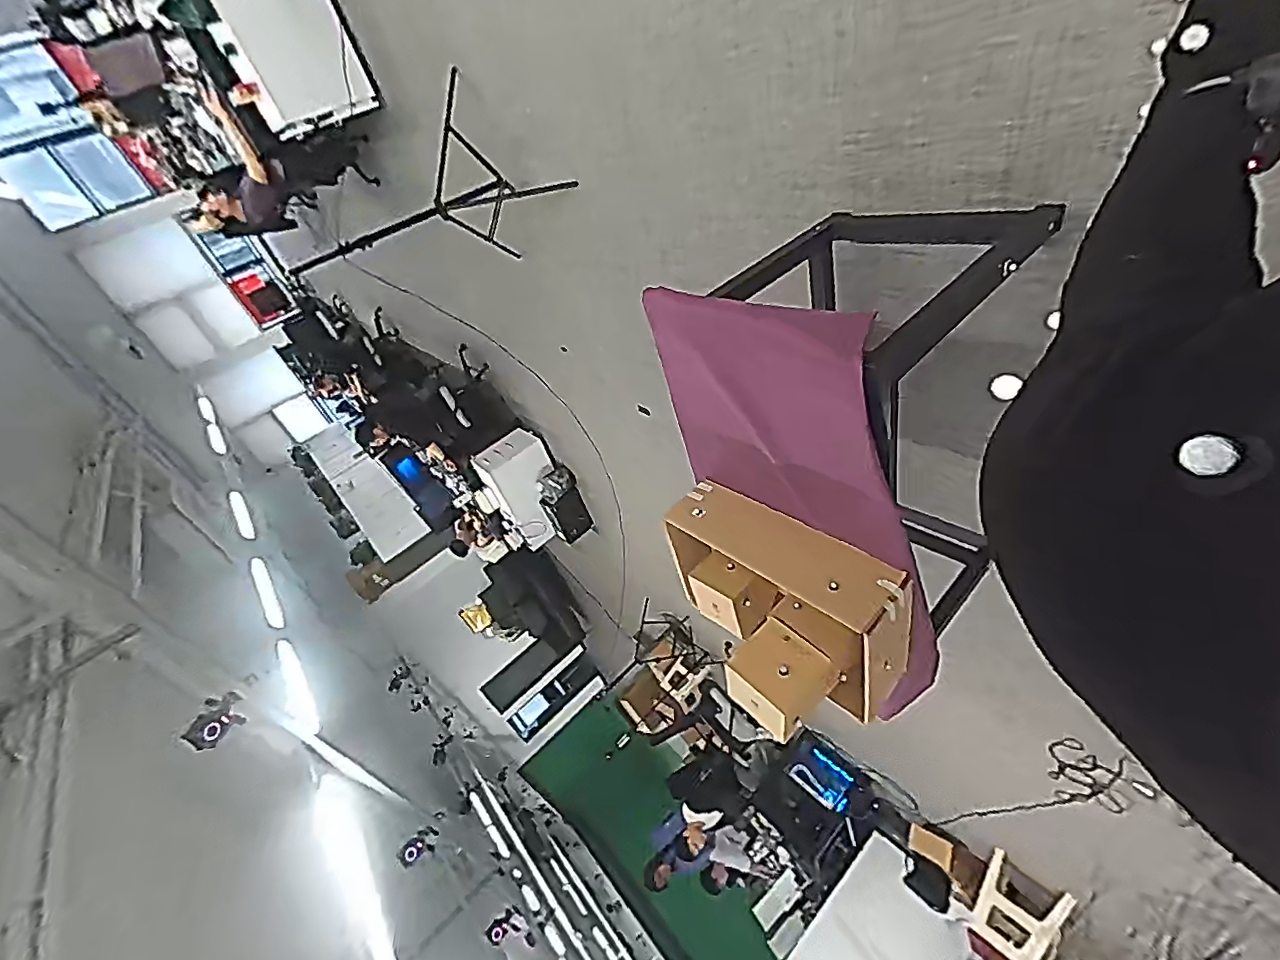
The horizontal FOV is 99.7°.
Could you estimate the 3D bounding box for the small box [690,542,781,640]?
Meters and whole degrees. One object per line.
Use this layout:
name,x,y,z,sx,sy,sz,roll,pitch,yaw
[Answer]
small box,0.271,0.303,1.515,0.168,0.176,0.179,24,145,46
